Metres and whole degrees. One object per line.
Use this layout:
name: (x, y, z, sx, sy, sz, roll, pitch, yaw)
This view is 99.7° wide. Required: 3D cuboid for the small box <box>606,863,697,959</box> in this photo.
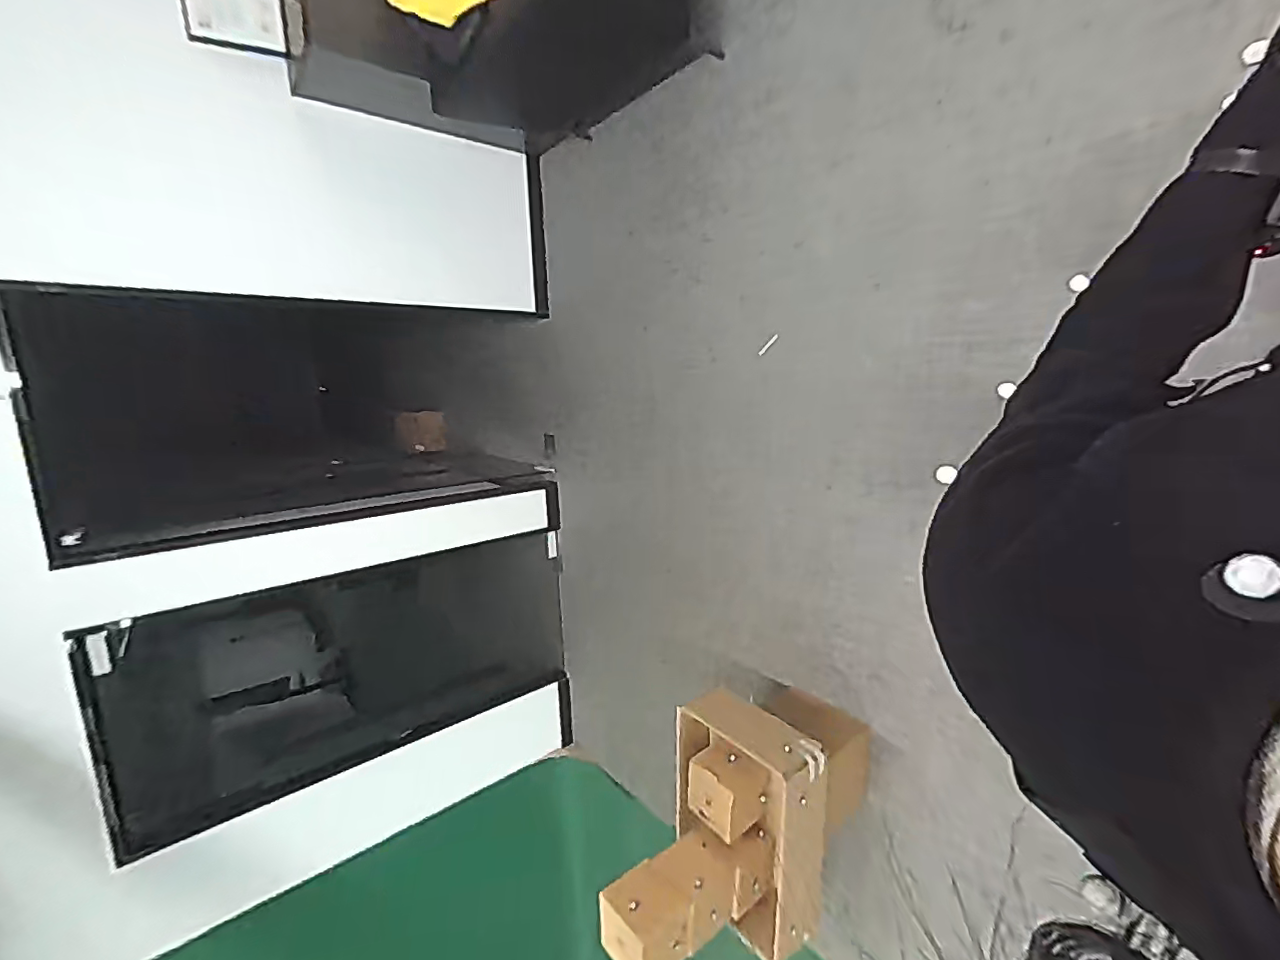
small box: (0.029, 1.150, 1.408, 0.179, 0.176, 0.168, 11, 106, 51)
